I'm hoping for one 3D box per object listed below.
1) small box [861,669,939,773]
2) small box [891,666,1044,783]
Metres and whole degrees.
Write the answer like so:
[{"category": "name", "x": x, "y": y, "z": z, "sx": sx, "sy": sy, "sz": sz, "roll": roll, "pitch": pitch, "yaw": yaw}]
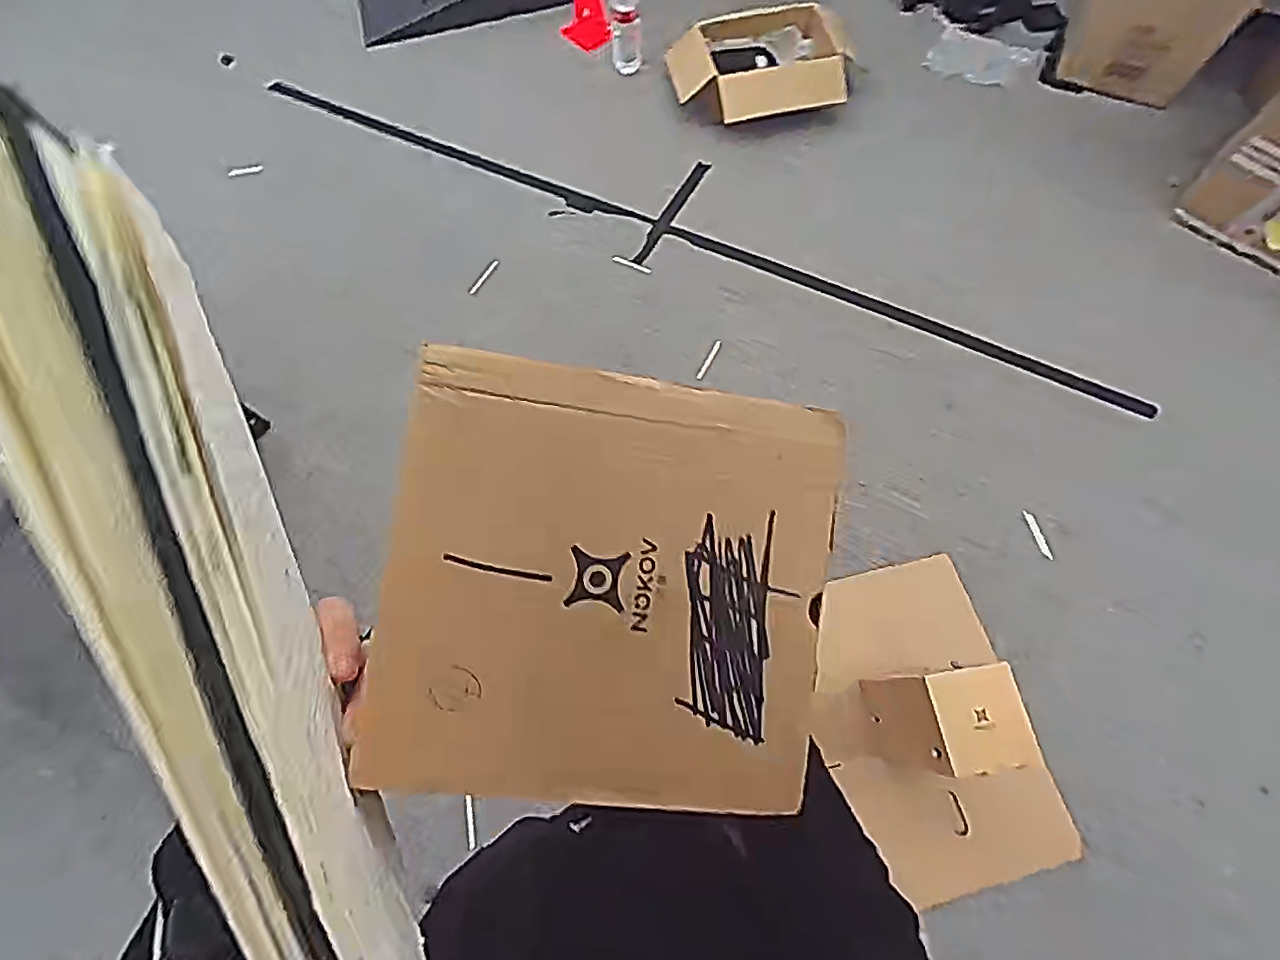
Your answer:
[{"category": "small box", "x": 0.619, "y": 0.524, "z": 1.197, "sx": 0.168, "sy": 0.176, "sz": 0.179, "roll": -9, "pitch": 72, "yaw": -3}, {"category": "small box", "x": 0.616, "y": 0.464, "z": 1.046, "sx": 0.168, "sy": 0.176, "sz": 0.179, "roll": -8, "pitch": 71, "yaw": -3}]
